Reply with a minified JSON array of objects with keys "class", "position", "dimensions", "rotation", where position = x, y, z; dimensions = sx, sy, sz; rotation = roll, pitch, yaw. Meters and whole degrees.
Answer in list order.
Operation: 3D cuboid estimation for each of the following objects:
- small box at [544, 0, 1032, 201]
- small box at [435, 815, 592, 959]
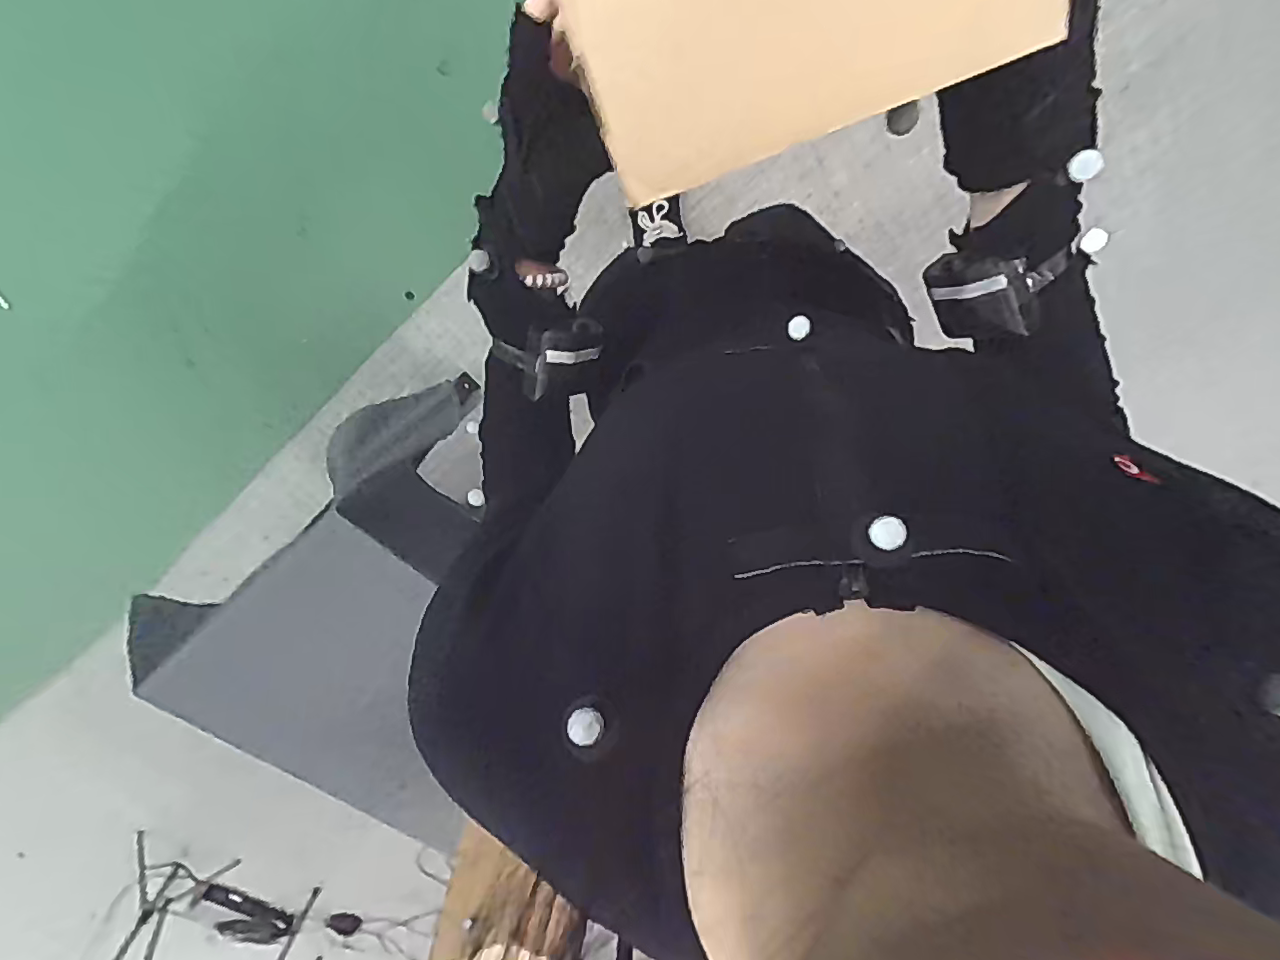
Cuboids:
[{"class":"small box","position":[0.047,-0.261,0.248],"dimensions":[0.179,0.176,0.168],"rotation":[-14,125,17]},{"class":"small box","position":[-0.195,0.698,0.893],"dimensions":[0.179,0.176,0.168],"rotation":[-37,113,18]}]
